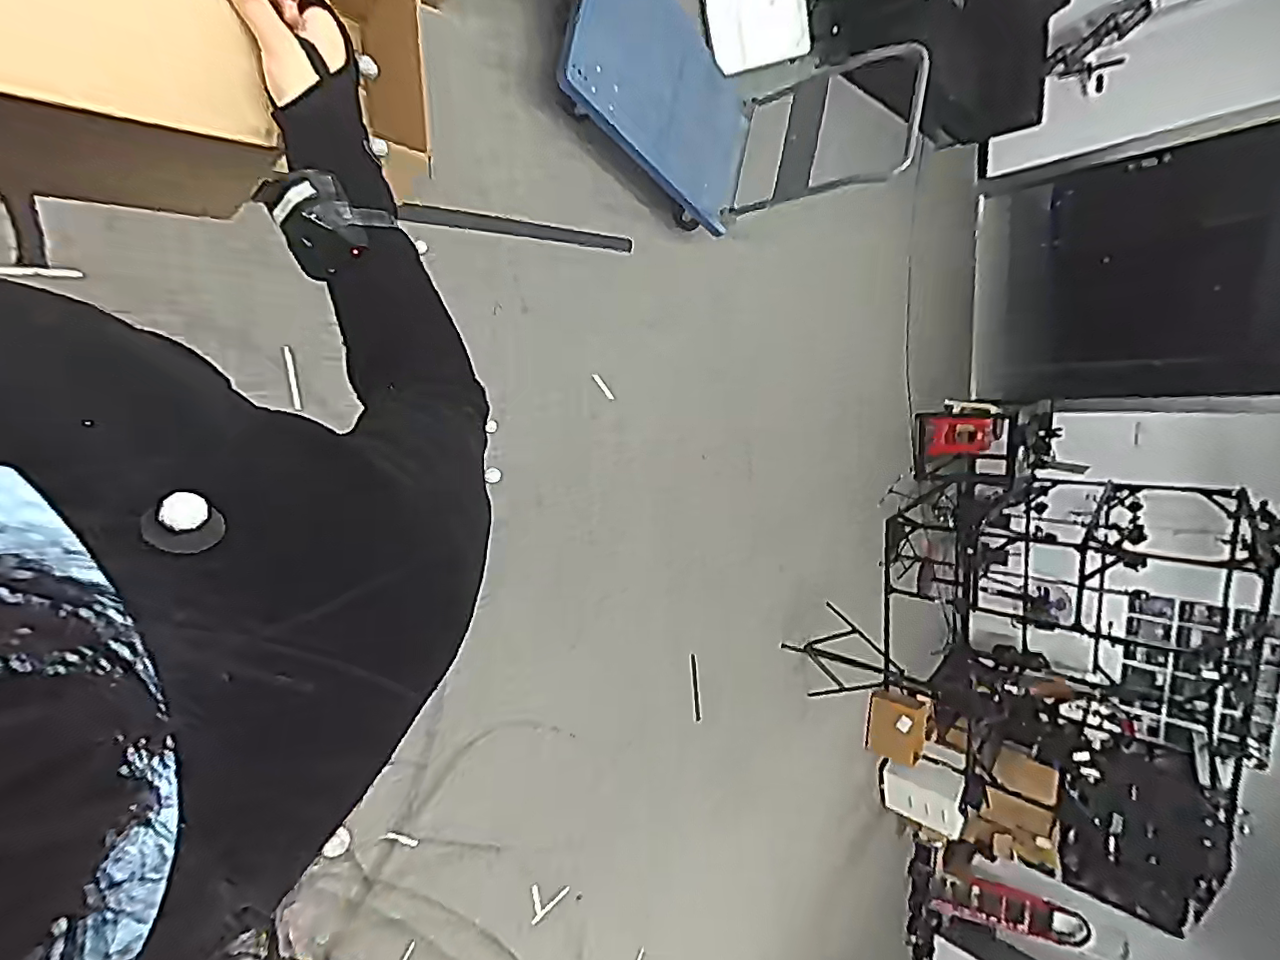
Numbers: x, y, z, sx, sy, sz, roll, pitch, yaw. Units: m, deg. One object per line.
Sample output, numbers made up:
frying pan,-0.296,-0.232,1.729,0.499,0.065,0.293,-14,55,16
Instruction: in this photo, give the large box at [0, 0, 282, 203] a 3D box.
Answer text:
large box,-0.527,-0.405,0.364,0.408,0.320,0.320,-13,108,-41
